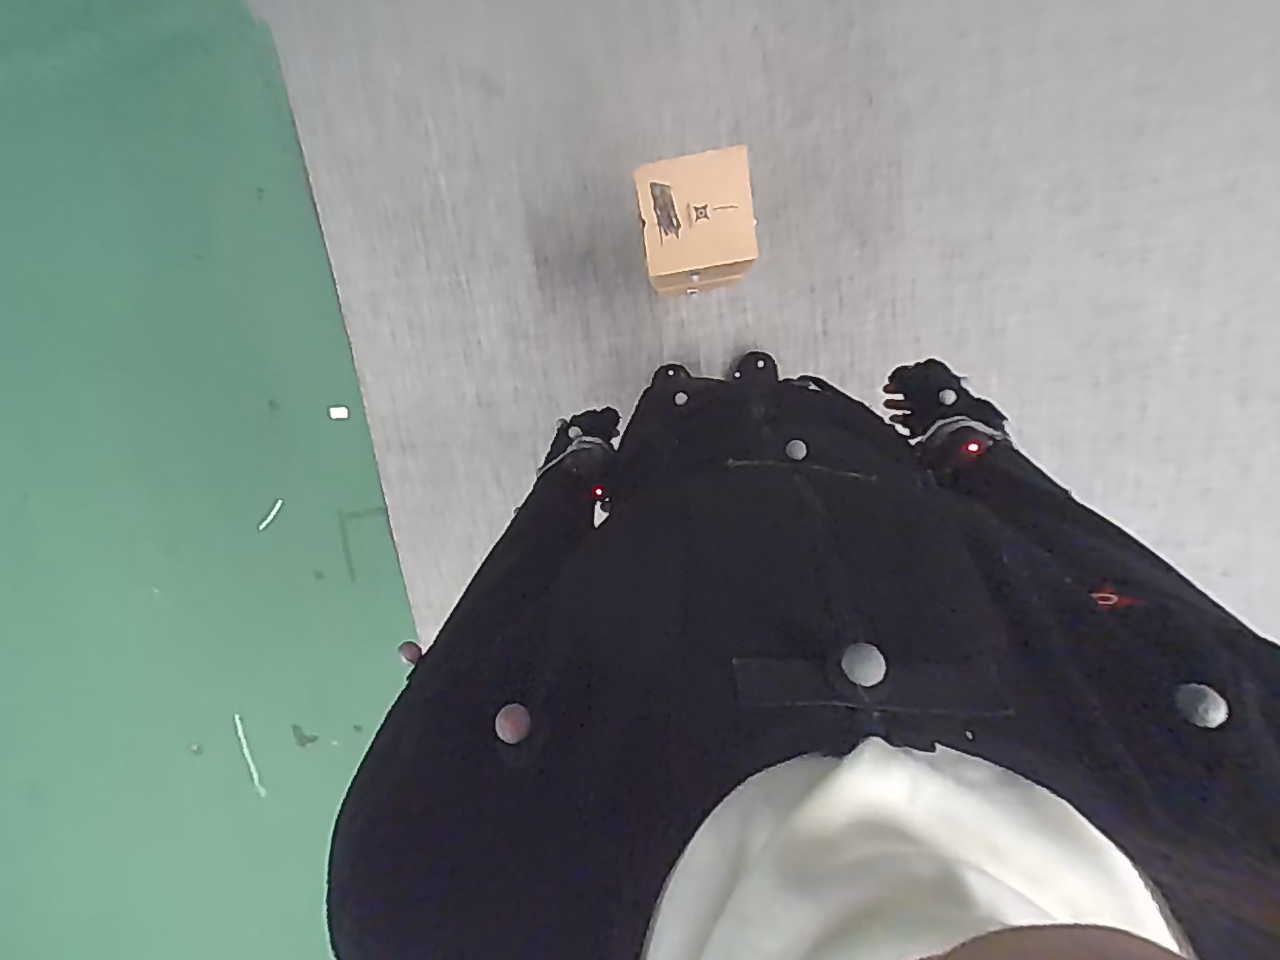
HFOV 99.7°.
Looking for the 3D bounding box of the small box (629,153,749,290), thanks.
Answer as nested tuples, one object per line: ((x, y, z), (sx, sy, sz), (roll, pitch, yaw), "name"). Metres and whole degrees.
((0.087, -0.433, 0.935), (0.179, 0.176, 0.168), (-7, 103, 6), "small box")

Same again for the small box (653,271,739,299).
((0.099, -0.468, 1.078), (0.168, 0.176, 0.179), (-8, 104, 7), "small box")
